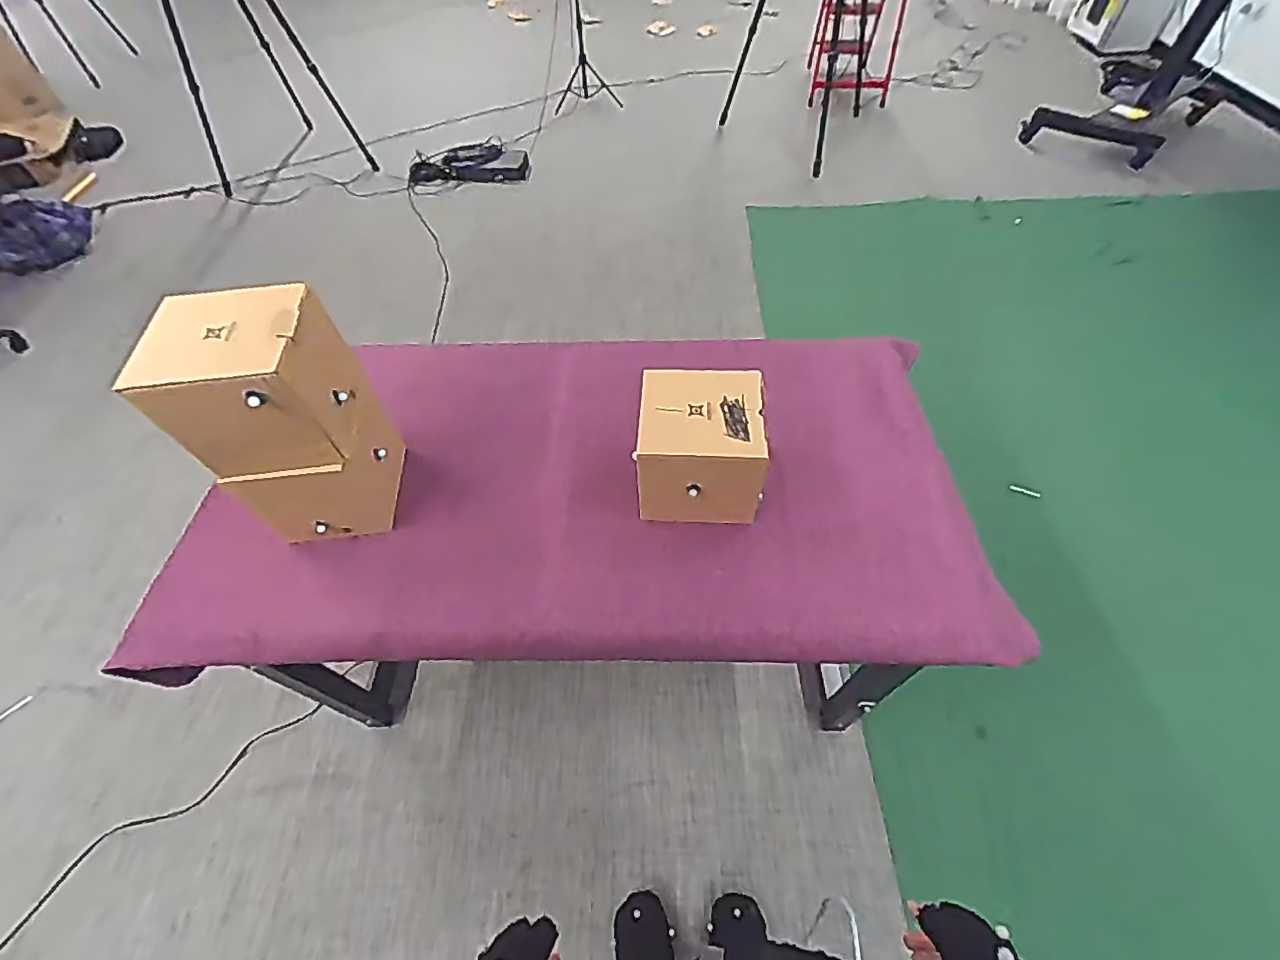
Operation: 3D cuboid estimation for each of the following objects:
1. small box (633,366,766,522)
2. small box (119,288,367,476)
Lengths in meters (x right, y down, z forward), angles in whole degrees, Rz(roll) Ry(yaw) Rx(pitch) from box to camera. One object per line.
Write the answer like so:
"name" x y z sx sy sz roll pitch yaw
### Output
"small box" 0.089 -0.050 0.819 0.179 0.176 0.168 4 53 6
"small box" -0.490 -0.121 0.703 0.179 0.176 0.168 -8 55 -3
